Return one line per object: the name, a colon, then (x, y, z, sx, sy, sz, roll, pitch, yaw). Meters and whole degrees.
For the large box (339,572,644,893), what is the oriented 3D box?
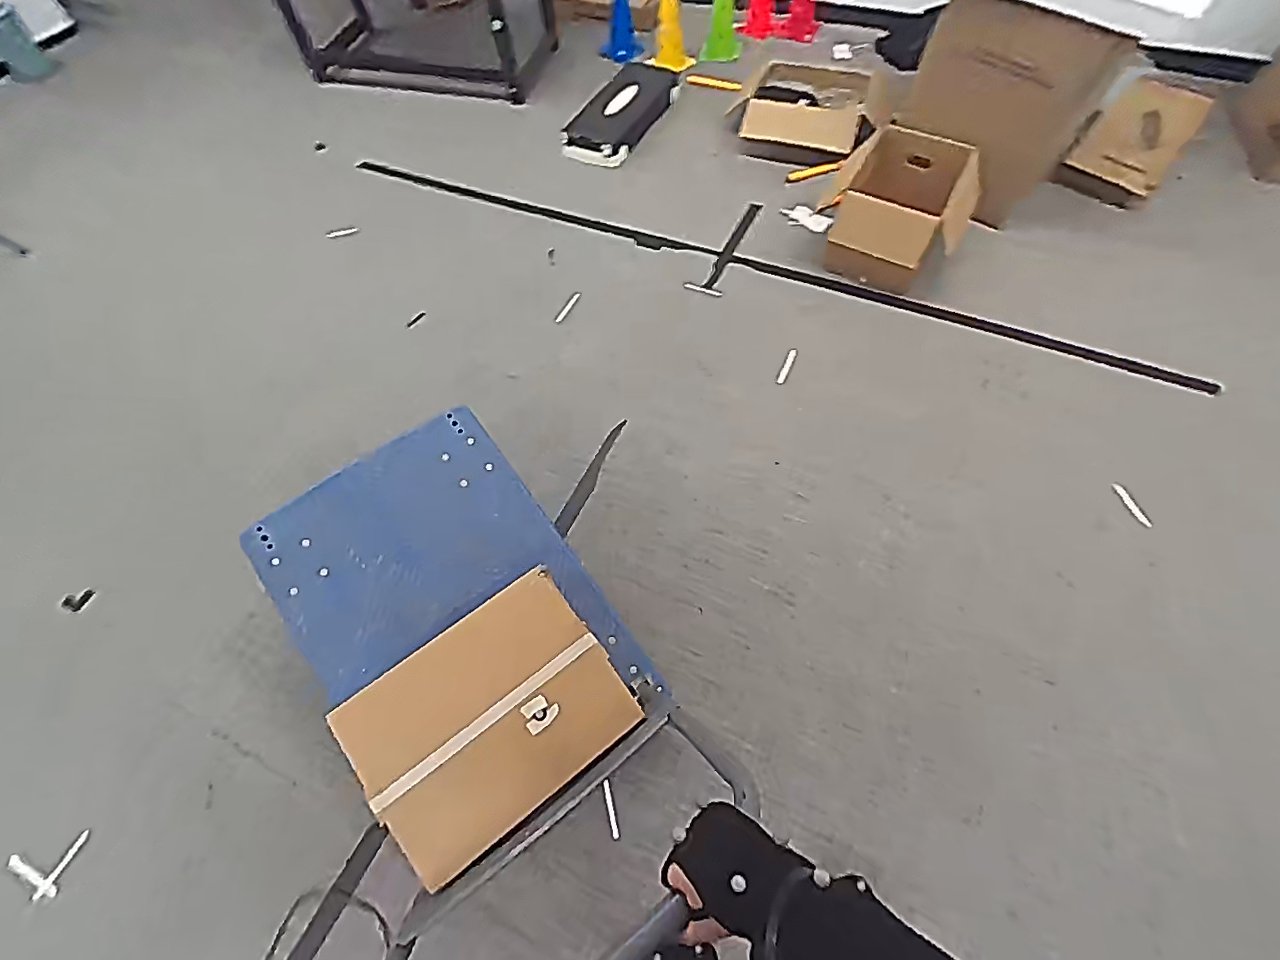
large box: (-0.254, 0.437, 1.026, 0.408, 0.320, 0.320, -36, 81, -16)
